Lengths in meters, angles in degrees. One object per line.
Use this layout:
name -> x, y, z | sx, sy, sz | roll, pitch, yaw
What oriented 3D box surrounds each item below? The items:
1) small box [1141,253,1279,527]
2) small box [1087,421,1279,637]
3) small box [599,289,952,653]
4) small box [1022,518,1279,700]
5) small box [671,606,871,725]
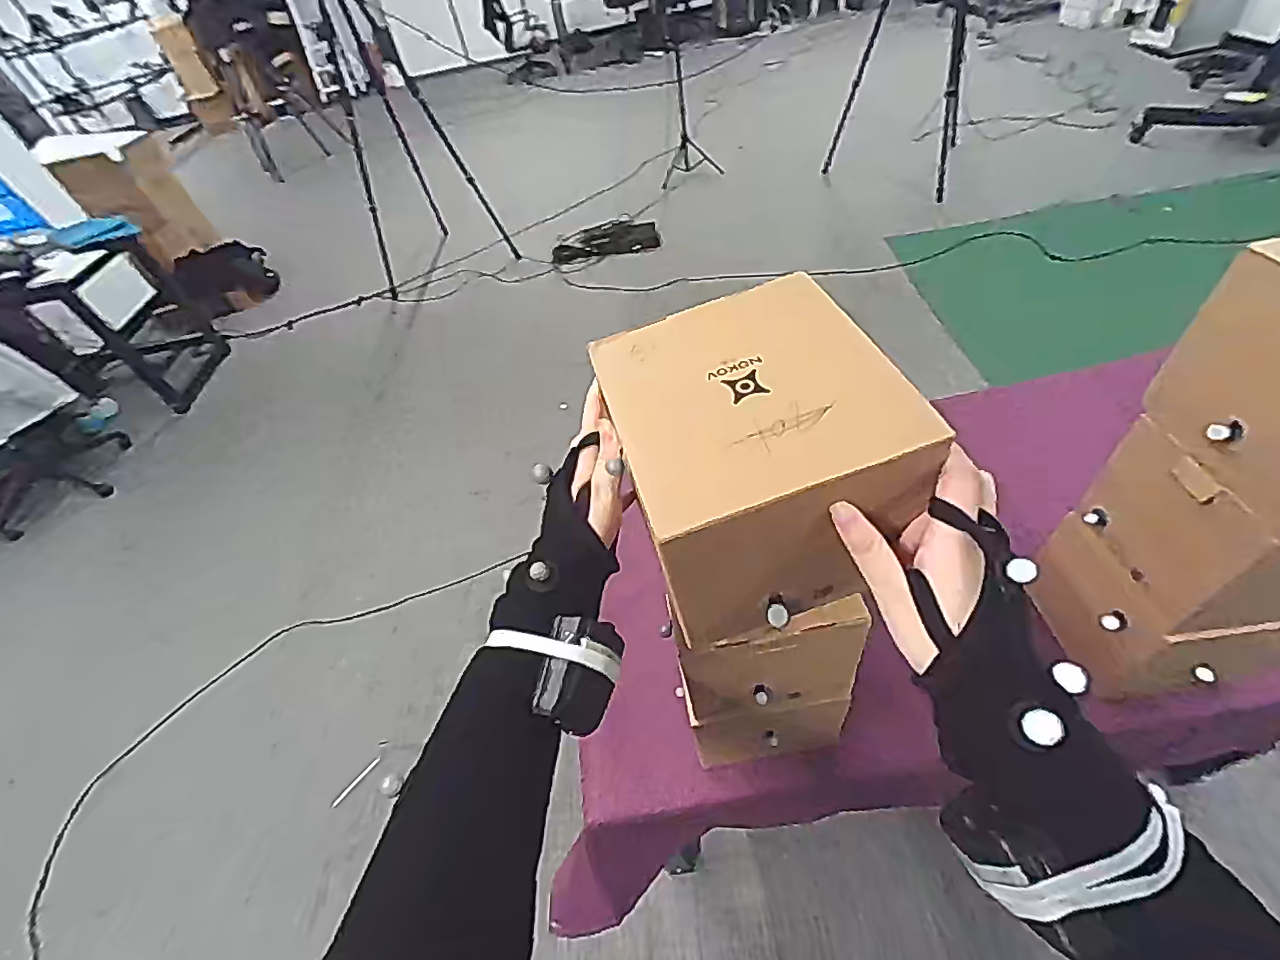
small box -> 0.577, -0.072, 0.431 | 0.168, 0.176, 0.179 | -9, 48, 4
small box -> 0.605, 0.043, 0.546 | 0.179, 0.176, 0.168 | -8, 48, 3
small box -> 0.080, -0.003, 0.395 | 0.168, 0.176, 0.179 | -18, 52, -1
small box -> 0.623, 0.156, 0.665 | 0.168, 0.176, 0.179 | -9, 47, 3
small box -> 0.116, 0.131, 0.569 | 0.168, 0.176, 0.179 | -11, 48, 2
